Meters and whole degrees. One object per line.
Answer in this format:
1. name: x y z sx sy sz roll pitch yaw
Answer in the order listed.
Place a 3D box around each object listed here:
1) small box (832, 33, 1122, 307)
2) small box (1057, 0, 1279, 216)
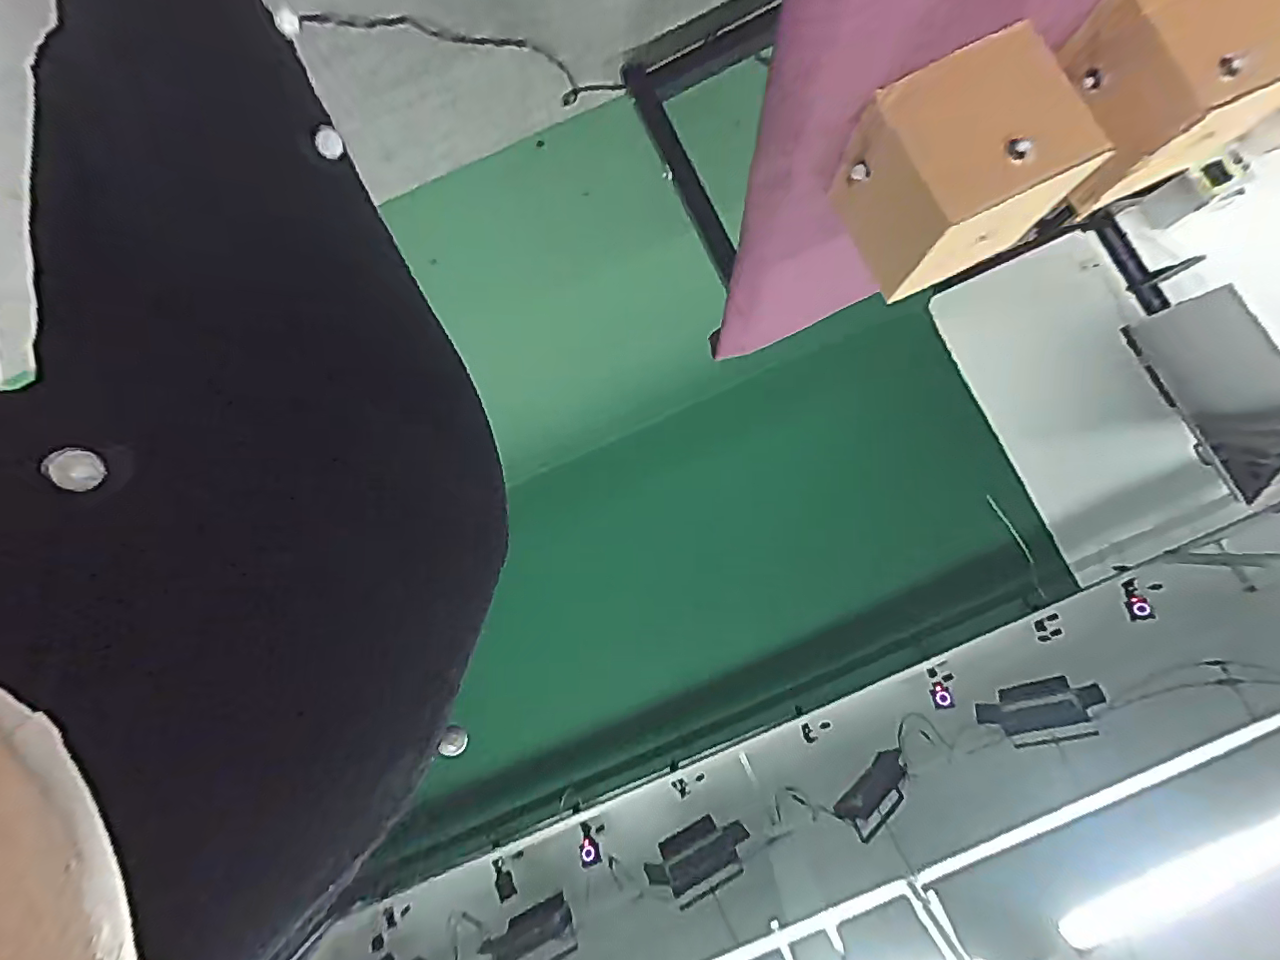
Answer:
1. small box: 0.348 -0.331 0.596 0.179 0.176 0.168 -25 171 0
2. small box: 0.598 -0.445 0.604 0.179 0.176 0.168 -23 172 0
